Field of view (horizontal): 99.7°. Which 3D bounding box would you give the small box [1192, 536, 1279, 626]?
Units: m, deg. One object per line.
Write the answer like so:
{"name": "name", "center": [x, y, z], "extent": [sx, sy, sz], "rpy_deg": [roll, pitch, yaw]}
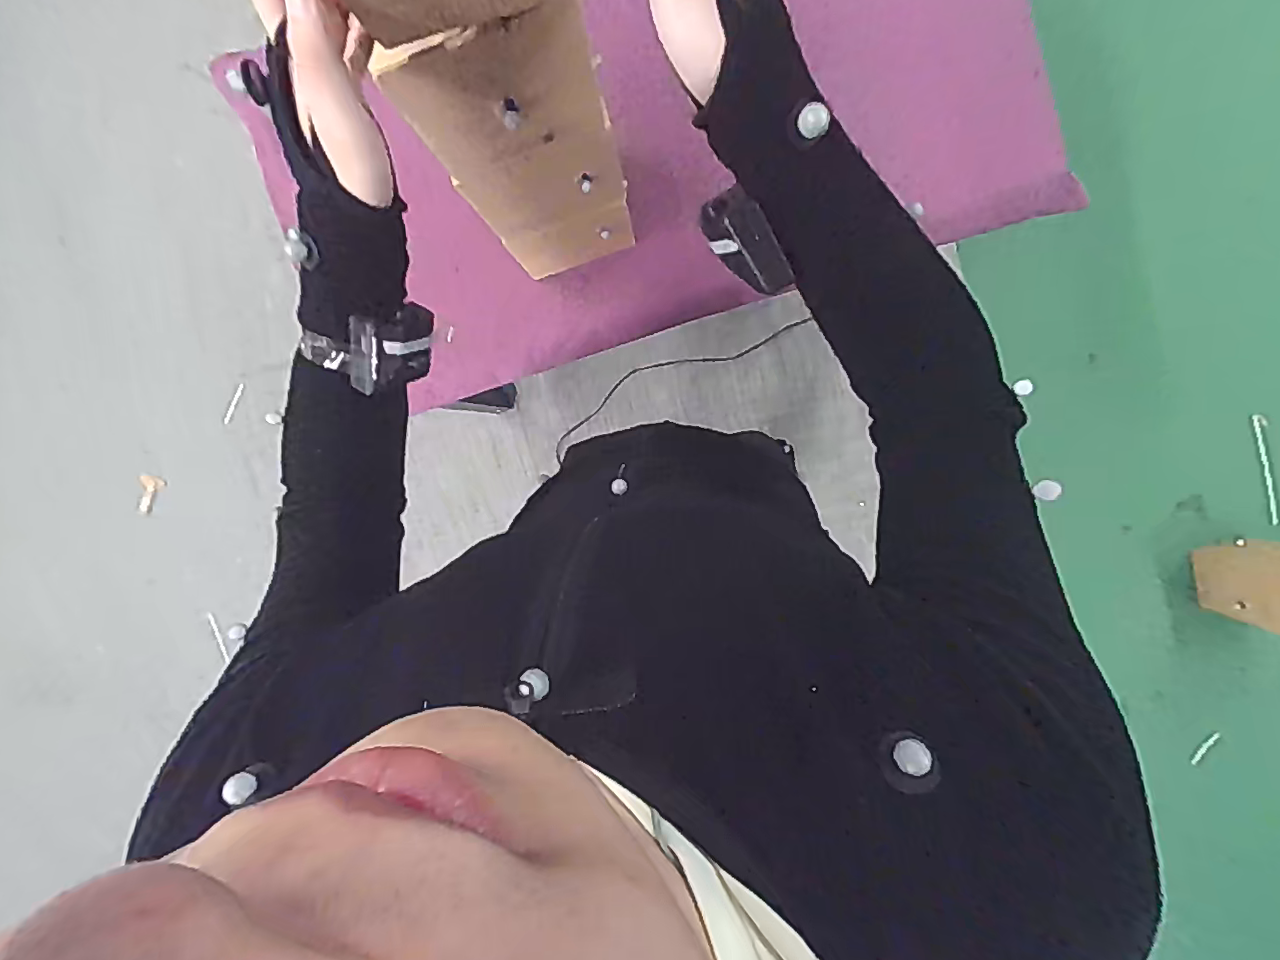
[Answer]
{"name": "small box", "center": [1.644, 0.264, 1.444], "extent": [0.168, 0.176, 0.179], "rpy_deg": [-13, 95, 5]}

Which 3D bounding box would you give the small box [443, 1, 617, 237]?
{"name": "small box", "center": [-0.131, -0.414, 0.628], "extent": [0.179, 0.176, 0.168], "rpy_deg": [-17, 93, 5]}

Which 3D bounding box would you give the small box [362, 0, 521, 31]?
{"name": "small box", "center": [-0.096, -0.350, 0.241], "extent": [0.179, 0.176, 0.168], "rpy_deg": [-14, 107, 3]}

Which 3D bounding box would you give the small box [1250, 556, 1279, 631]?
{"name": "small box", "center": [1.629, 0.280, 1.283], "extent": [0.168, 0.176, 0.179], "rpy_deg": [-14, 94, 6]}

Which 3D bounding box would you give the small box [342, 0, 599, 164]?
{"name": "small box", "center": [-0.144, -0.408, 0.465], "extent": [0.168, 0.176, 0.179], "rpy_deg": [-18, 93, 4]}
